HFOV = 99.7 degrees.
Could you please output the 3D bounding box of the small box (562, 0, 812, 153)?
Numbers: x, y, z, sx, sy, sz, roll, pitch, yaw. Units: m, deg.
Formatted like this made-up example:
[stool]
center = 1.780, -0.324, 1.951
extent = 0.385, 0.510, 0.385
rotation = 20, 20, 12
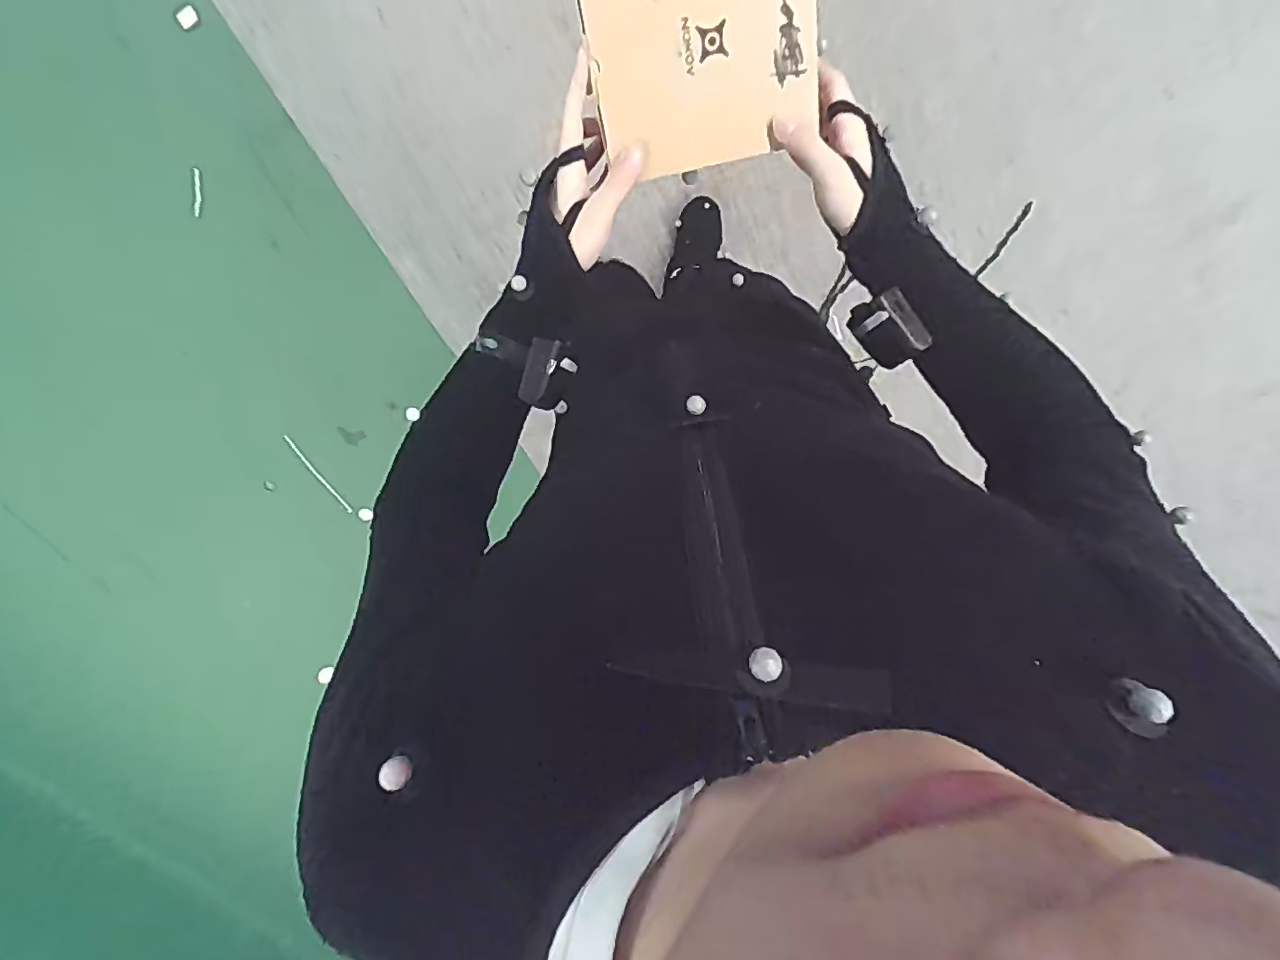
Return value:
[small box]
center = 0.035, -0.378, 0.447
extent = 0.179, 0.176, 0.168
rotation = -7, 122, 5
